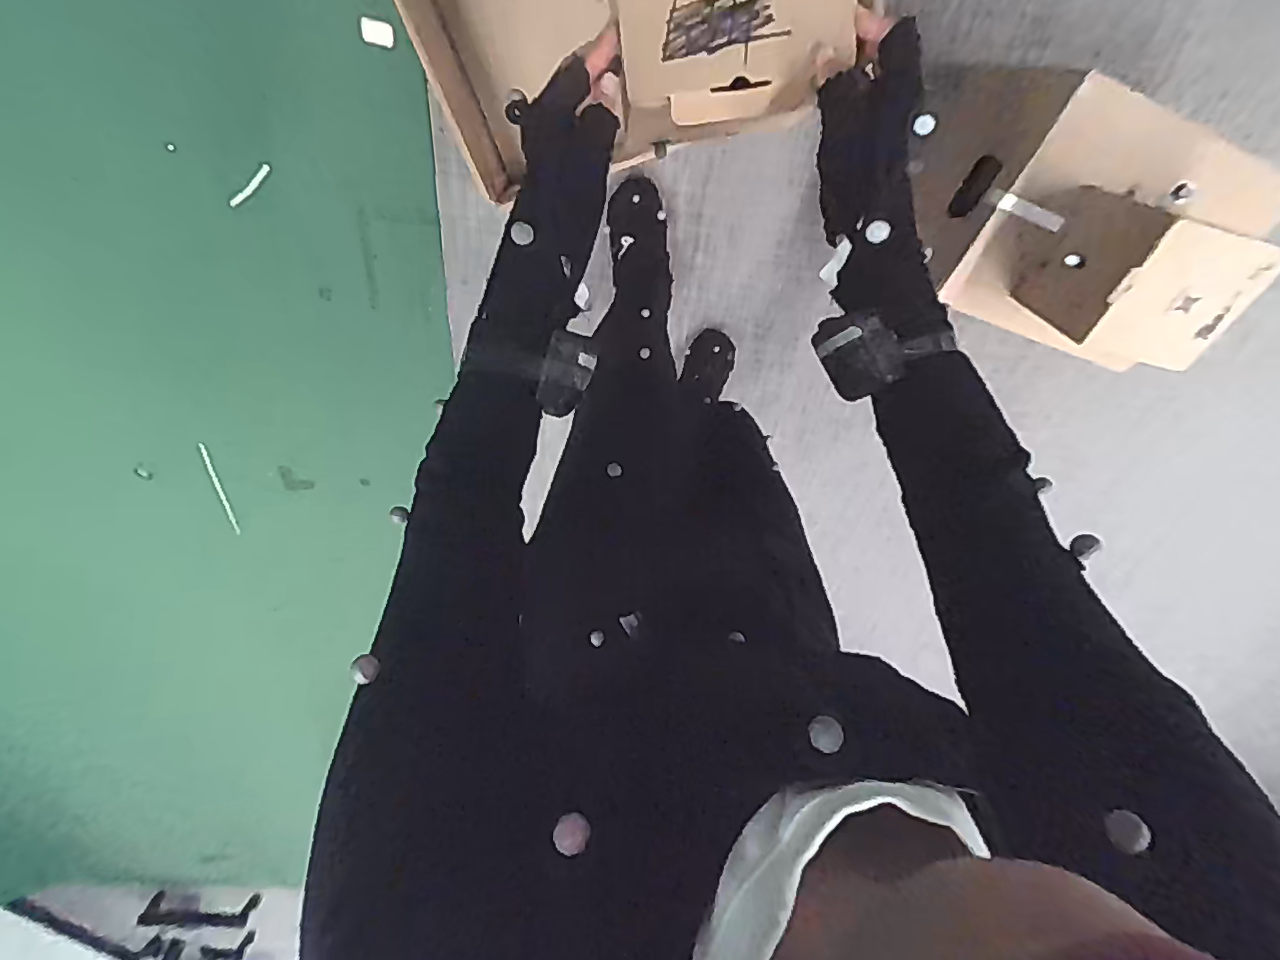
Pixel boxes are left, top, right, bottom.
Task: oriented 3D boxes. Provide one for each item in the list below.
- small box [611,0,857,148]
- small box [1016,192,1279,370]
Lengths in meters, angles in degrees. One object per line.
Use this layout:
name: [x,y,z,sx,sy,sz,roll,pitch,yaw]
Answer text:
small box: [0.061,-0.381,0.429,0.168,0.176,0.179,-7,111,1]
small box: [0.677,-0.279,0.744,0.179,0.176,0.168,11,128,-9]
